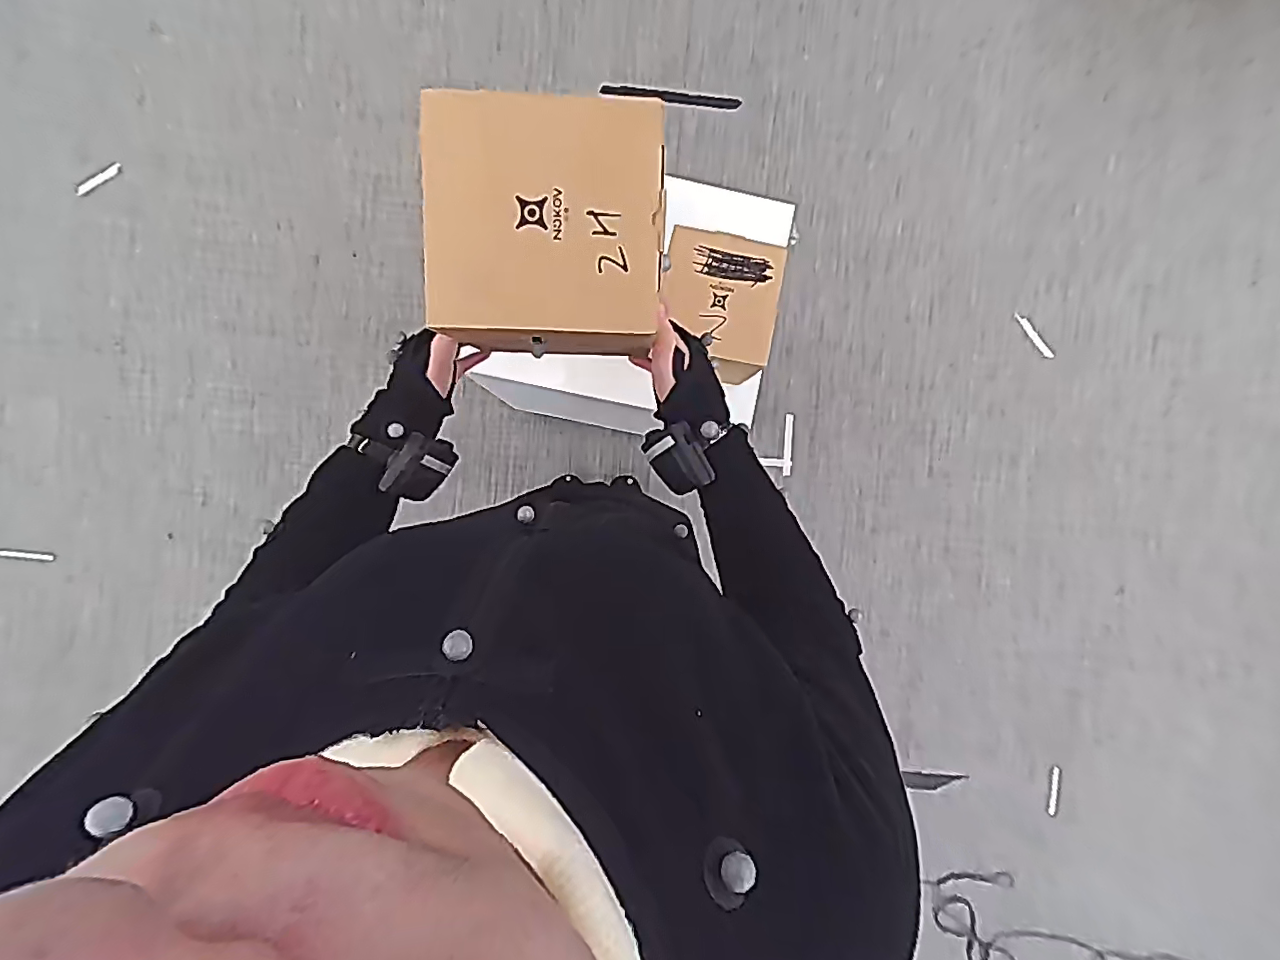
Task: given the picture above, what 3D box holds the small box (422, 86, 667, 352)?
[{"bbox_3d":[-0.072,-0.204,0.471,0.179,0.176,0.168,2,98,-2],"label":"small box"}]
